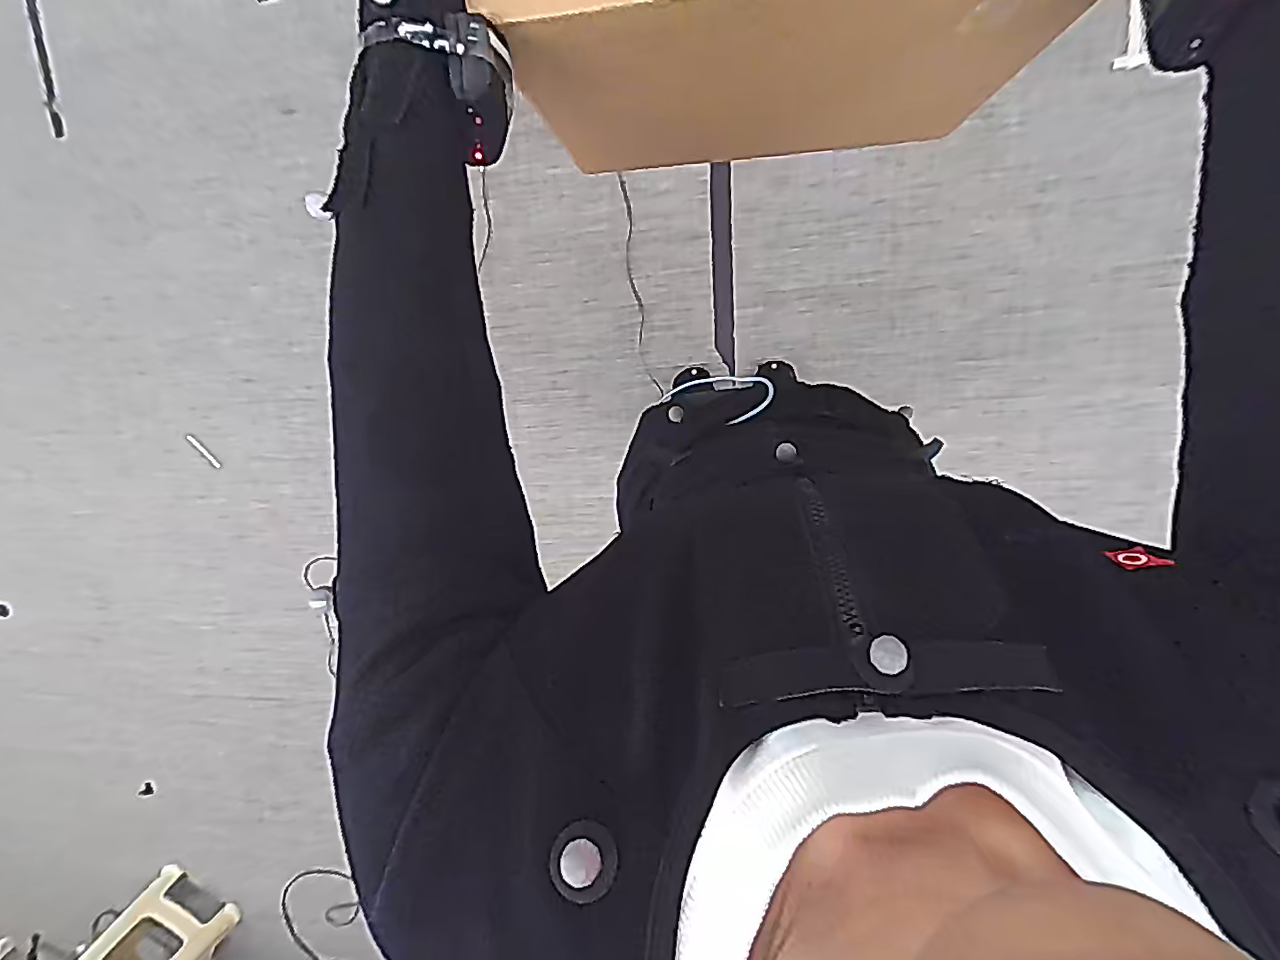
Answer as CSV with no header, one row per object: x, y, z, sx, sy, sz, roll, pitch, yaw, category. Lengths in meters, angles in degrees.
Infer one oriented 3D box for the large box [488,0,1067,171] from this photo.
0.102,-0.484,0.433,0.408,0.320,0.320,-2,104,7,large box
